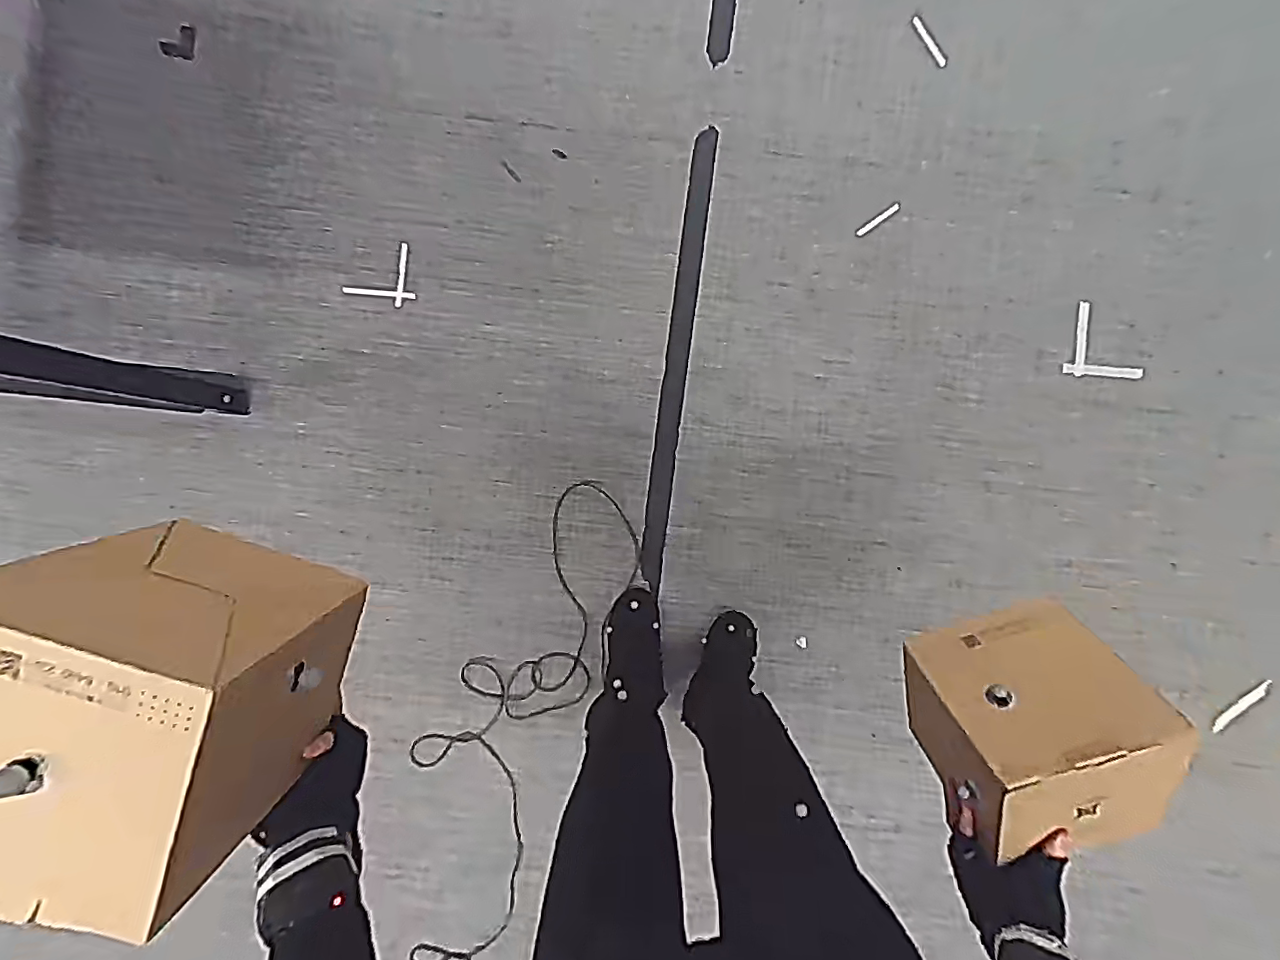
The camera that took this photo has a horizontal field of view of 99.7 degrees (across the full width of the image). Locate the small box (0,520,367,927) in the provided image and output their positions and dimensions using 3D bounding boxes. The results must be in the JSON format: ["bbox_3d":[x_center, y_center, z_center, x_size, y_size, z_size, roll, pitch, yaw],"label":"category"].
[{"bbox_3d":[-0.324,0.138,0.372,0.168,0.179,0.176,20,96,-3],"label":"small box"}]

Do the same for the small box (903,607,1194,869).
[{"bbox_3d":[0.395,0.255,0.562,0.168,0.176,0.179,-19,123,4],"label":"small box"}]
